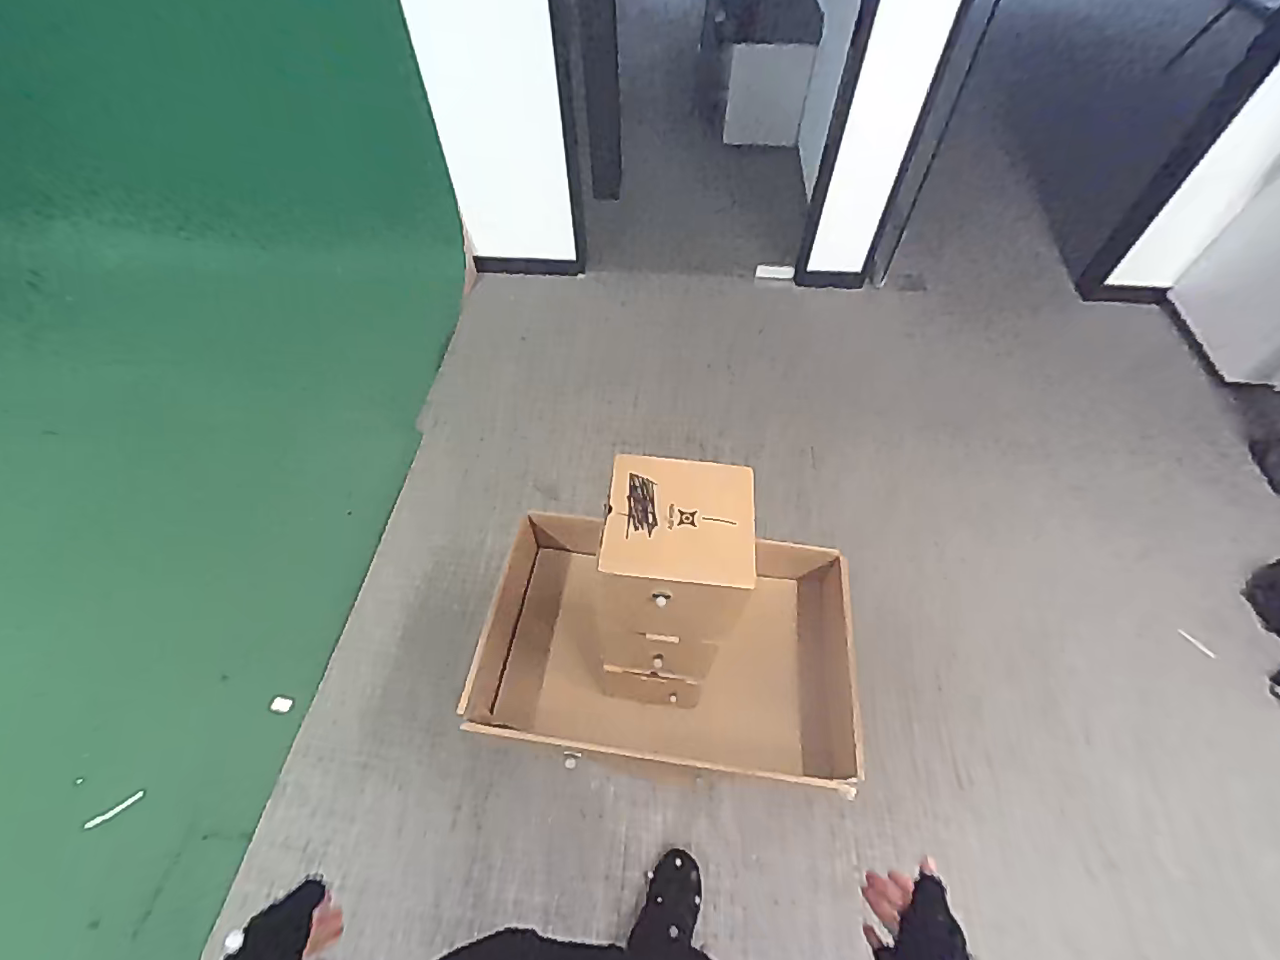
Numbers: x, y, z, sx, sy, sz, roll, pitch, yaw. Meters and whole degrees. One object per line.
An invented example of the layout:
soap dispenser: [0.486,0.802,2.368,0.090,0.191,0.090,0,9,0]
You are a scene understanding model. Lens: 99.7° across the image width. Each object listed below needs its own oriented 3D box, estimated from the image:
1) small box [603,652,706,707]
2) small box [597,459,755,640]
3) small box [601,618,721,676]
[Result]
small box: [0.031,0.289,0.961,0.168,0.176,0.179,7,53,3]
small box: [0.045,0.094,0.696,0.179,0.176,0.168,6,55,1]
small box: [0.038,0.187,0.833,0.168,0.176,0.179,7,55,3]
